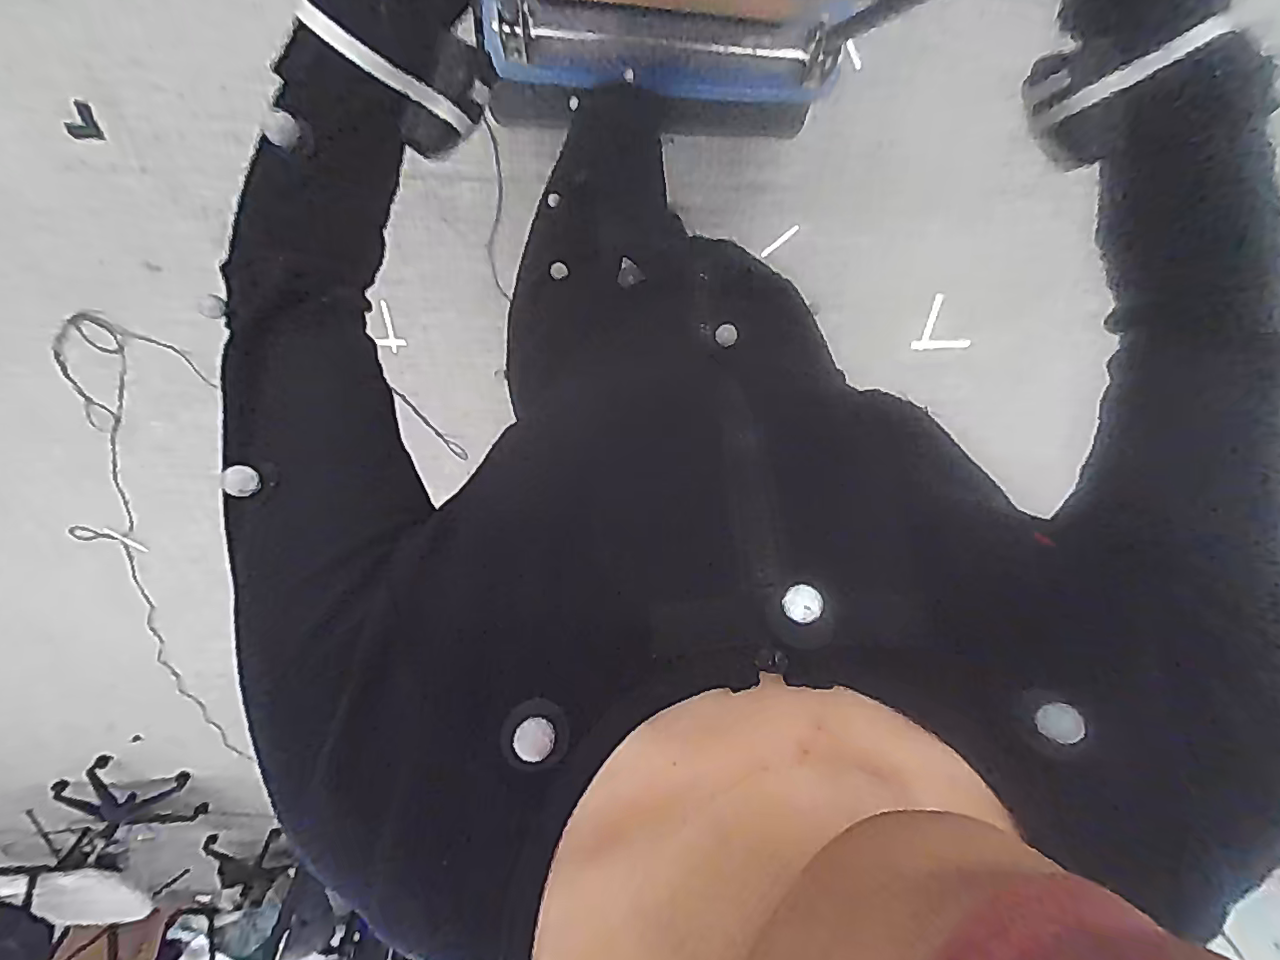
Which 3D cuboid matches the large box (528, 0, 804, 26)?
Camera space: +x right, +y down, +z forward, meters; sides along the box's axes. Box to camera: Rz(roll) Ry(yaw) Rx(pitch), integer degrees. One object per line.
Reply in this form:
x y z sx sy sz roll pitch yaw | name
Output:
0.047 -0.788 0.636 0.408 0.320 0.320 0 116 -7 | large box
